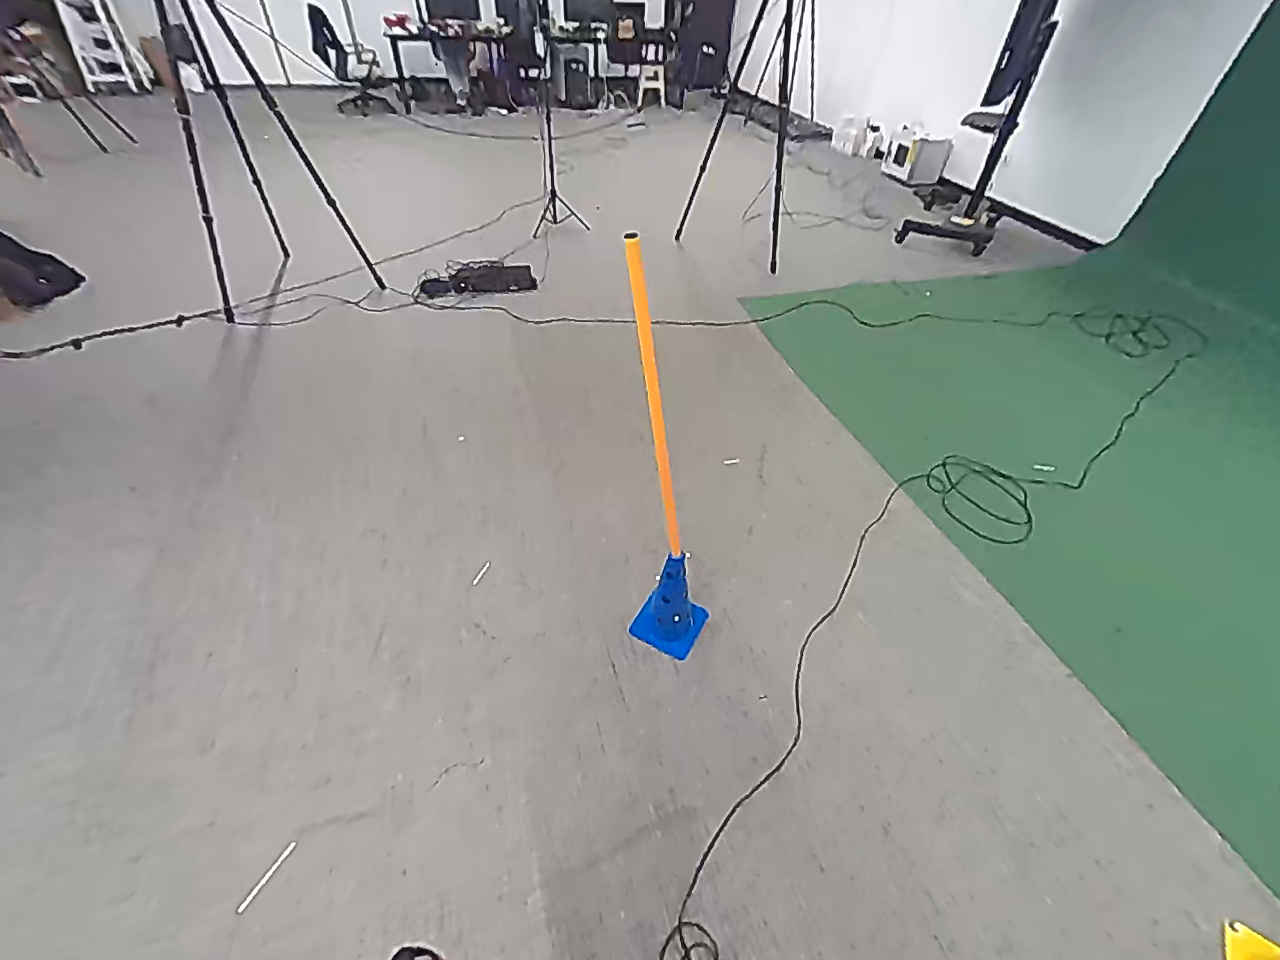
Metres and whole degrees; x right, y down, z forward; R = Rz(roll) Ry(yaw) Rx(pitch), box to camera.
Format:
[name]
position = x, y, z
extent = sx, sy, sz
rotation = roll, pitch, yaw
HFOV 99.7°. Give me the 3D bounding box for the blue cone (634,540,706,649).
[blue cone]
position = 0.094, 0.311, 1.567
extent = 0.193, 0.380, 0.192
rotation = 21, 49, 19
